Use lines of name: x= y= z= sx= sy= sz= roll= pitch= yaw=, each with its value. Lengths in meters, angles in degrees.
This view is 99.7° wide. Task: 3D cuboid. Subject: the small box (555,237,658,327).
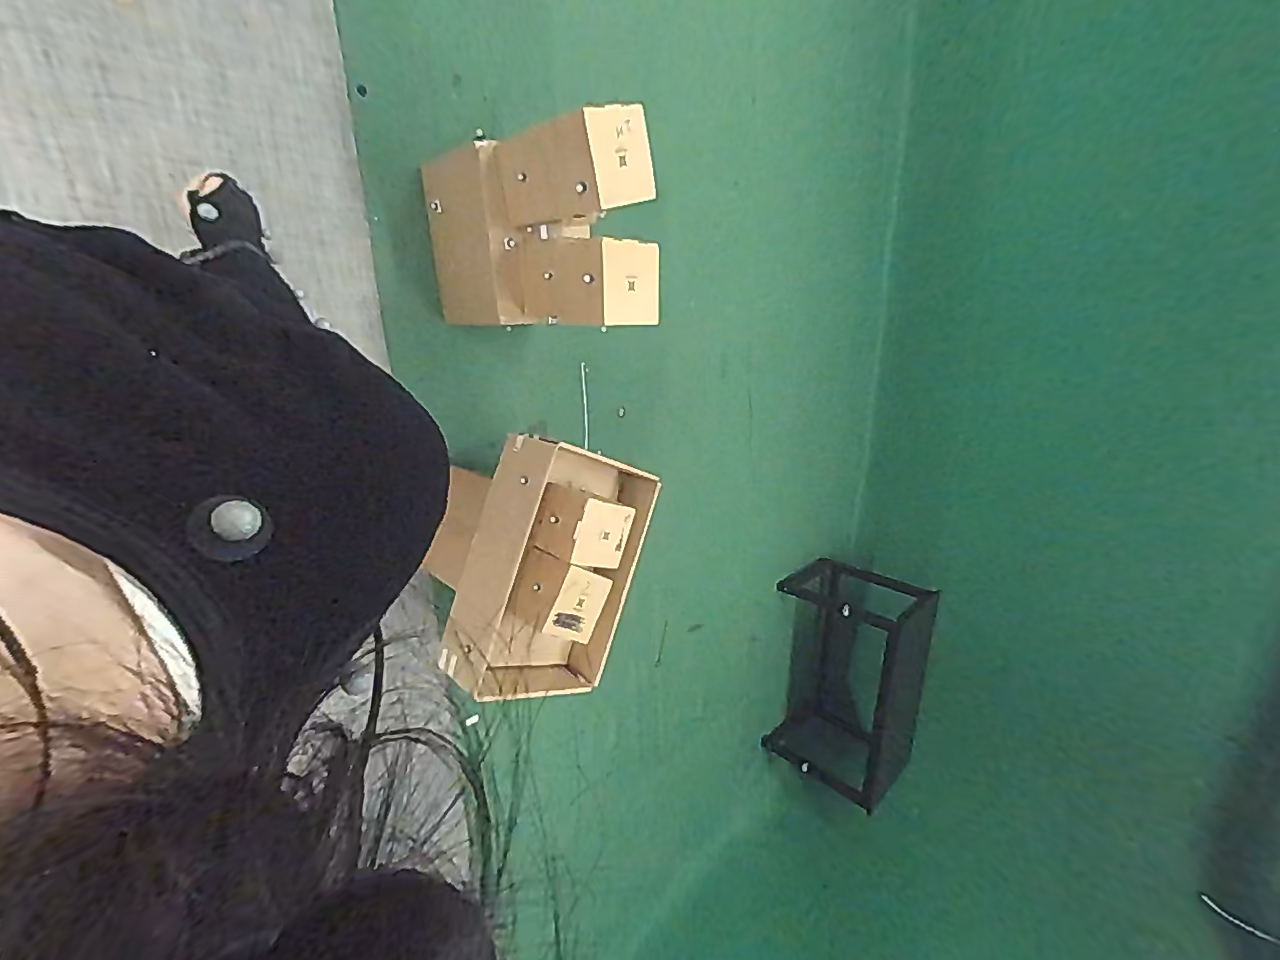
small box: x=-0.077 y=-0.439 z=1.222 sx=0.168 sy=0.176 sz=0.179 roll=-15 pitch=111 yaw=-41
